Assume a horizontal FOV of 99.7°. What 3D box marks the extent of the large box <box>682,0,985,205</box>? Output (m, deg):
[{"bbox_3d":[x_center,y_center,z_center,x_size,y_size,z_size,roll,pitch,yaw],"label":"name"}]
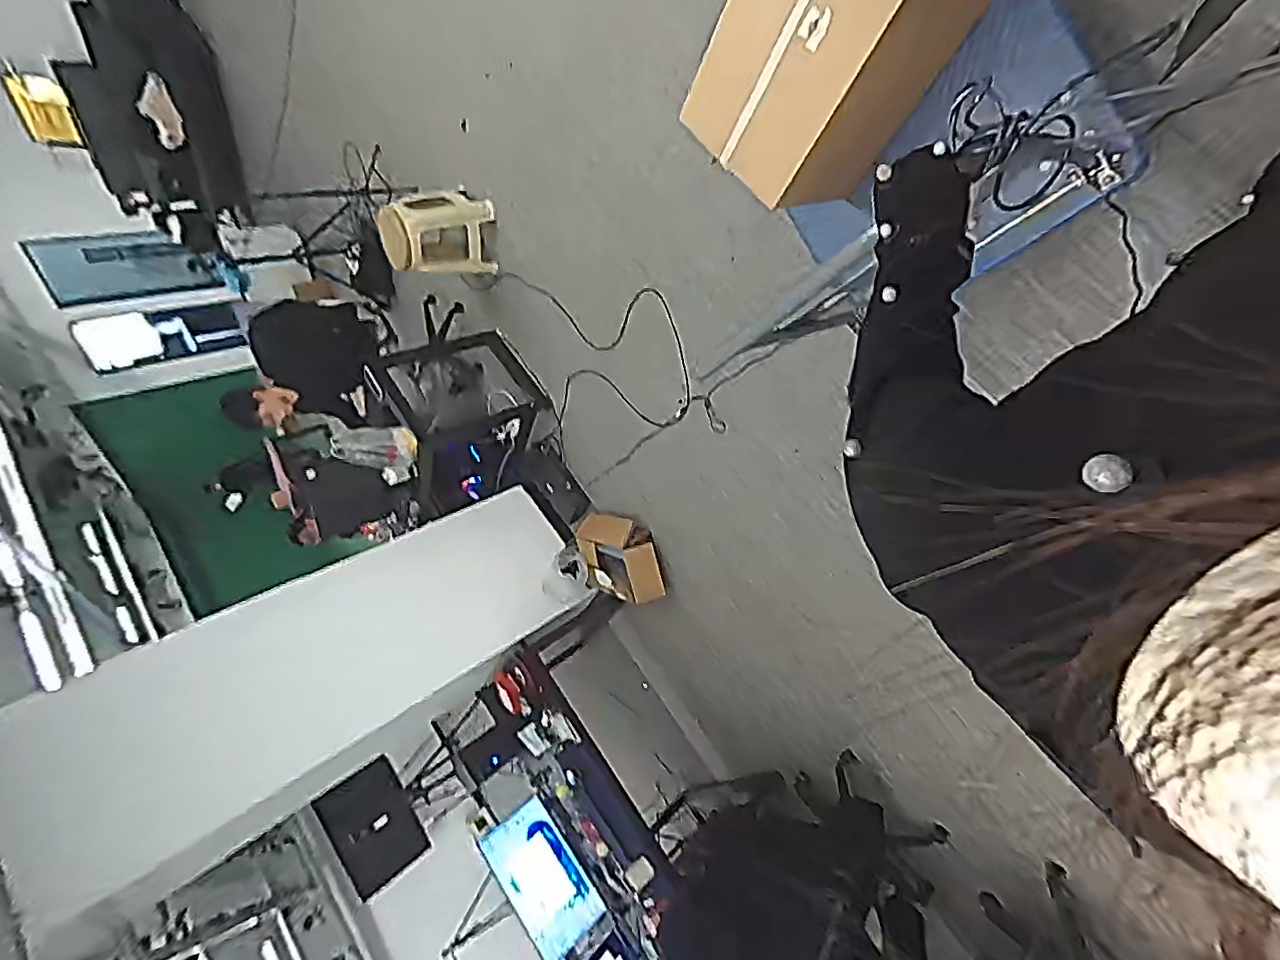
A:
[{"bbox_3d":[0.355,-0.819,1.060,0.320,0.320,0.408,52,142,14],"label":"large box"}]
